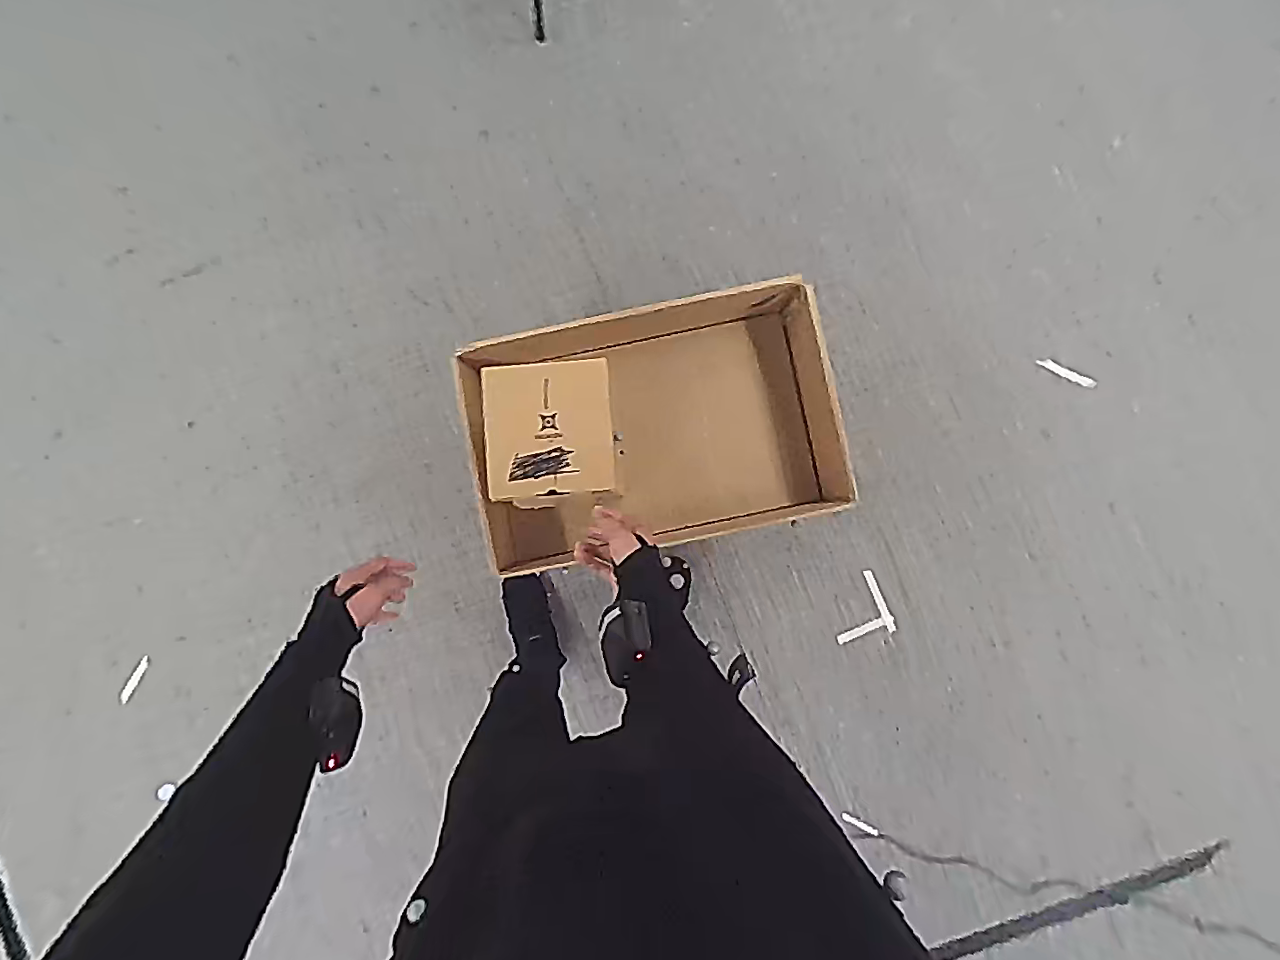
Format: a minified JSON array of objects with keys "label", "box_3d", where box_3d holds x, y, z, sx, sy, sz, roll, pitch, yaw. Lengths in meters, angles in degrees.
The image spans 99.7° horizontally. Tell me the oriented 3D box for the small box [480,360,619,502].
[{"label":"small box","box_3d":[-0.121,-0.062,0.780,0.168,0.176,0.179,-4,87,0]}]
